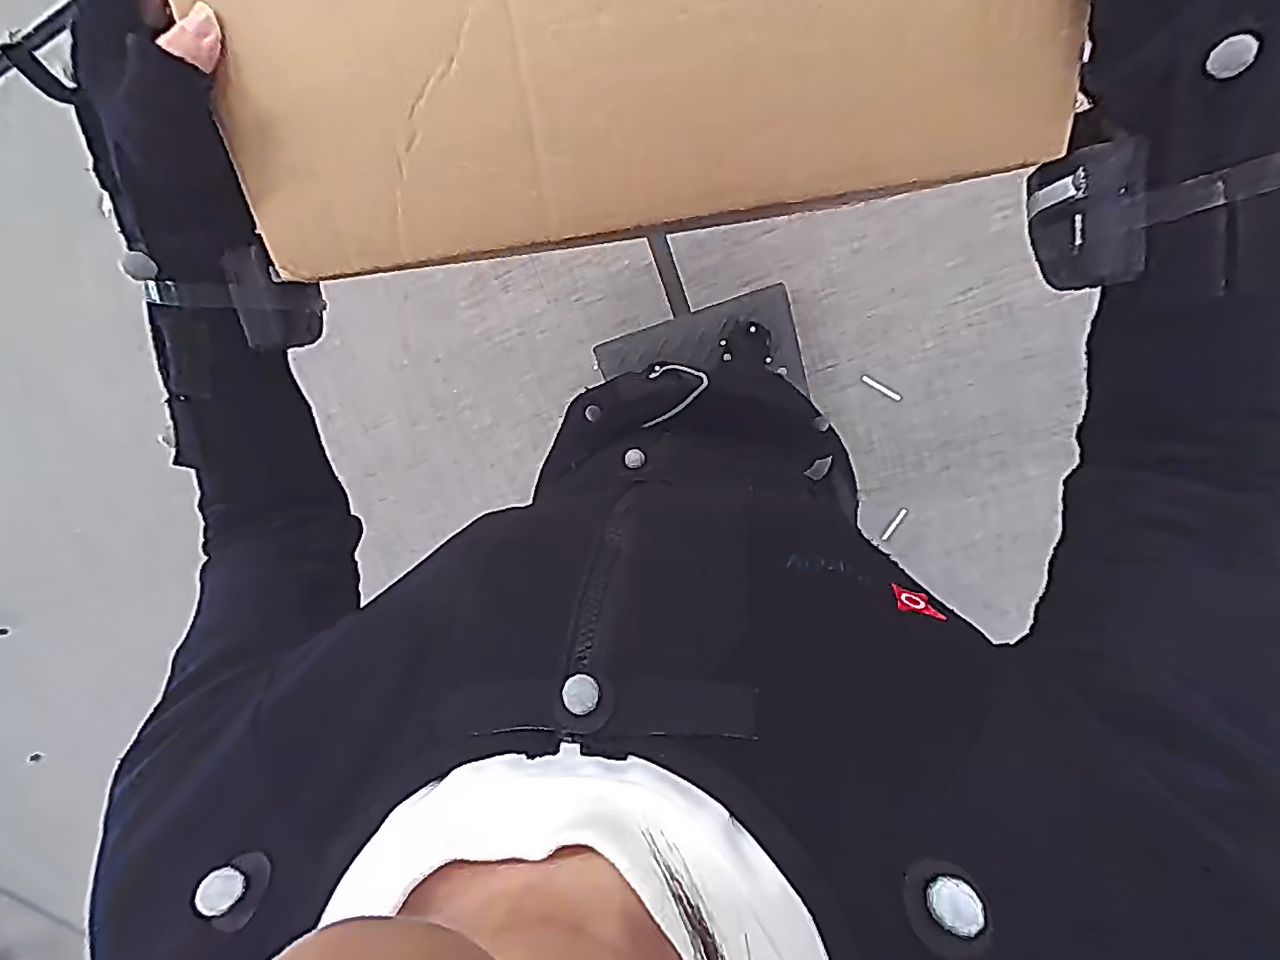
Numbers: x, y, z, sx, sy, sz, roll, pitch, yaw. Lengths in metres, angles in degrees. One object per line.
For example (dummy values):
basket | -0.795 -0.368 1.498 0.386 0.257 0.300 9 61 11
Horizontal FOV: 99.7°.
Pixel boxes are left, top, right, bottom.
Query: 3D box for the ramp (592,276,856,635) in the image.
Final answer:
ramp | 0.271 0.008 1.507 0.509 0.206 0.991 -18 103 12

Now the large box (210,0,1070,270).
large box | -0.007 -0.342 0.362 0.408 0.320 0.320 -5 115 9
